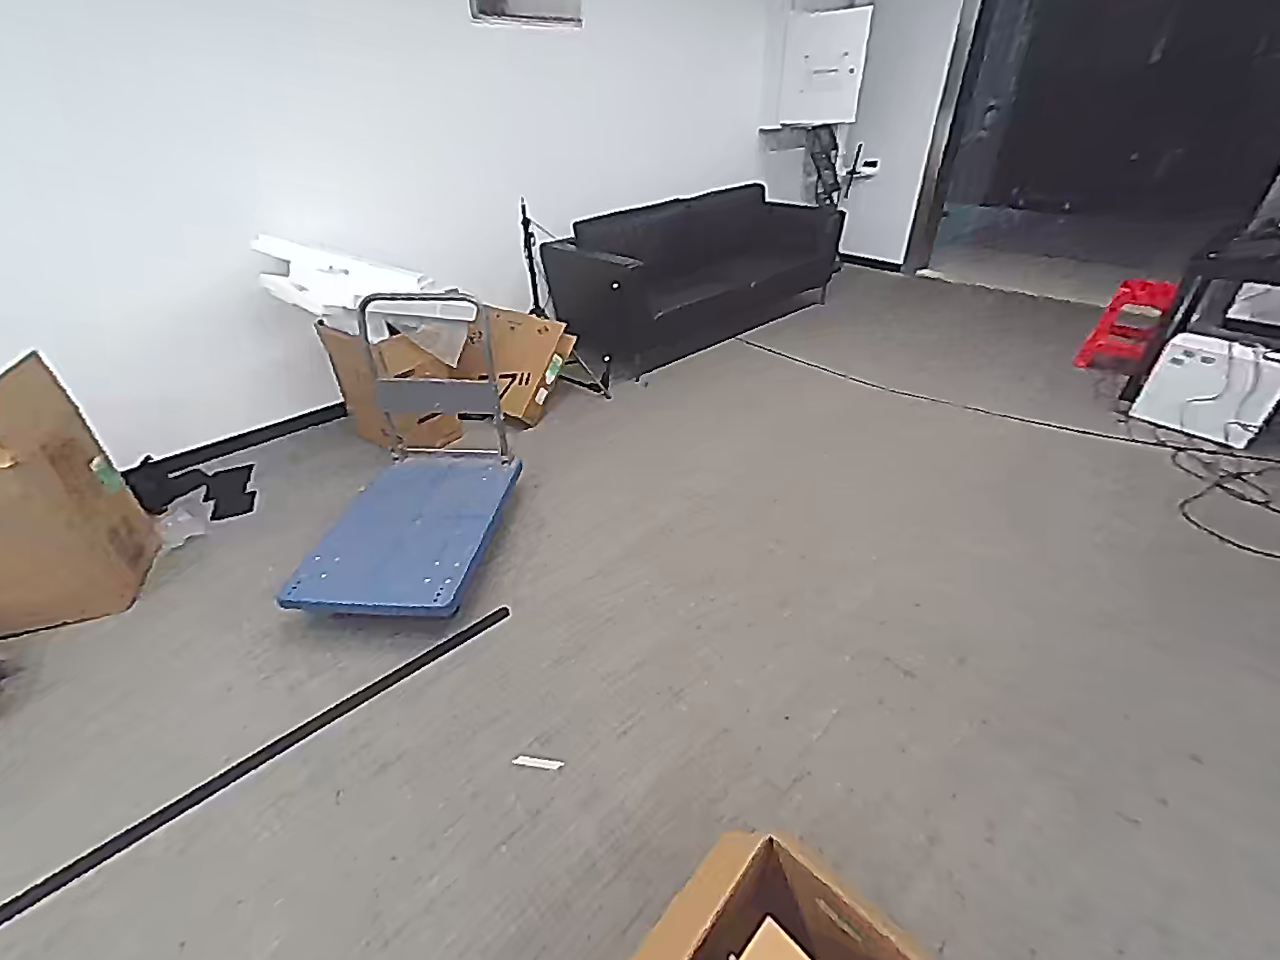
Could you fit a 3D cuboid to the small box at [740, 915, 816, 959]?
[{"bbox_3d":[0.208,0.831,0.820,0.179,0.176,0.168,-30,43,-33],"label":"small box"}]
